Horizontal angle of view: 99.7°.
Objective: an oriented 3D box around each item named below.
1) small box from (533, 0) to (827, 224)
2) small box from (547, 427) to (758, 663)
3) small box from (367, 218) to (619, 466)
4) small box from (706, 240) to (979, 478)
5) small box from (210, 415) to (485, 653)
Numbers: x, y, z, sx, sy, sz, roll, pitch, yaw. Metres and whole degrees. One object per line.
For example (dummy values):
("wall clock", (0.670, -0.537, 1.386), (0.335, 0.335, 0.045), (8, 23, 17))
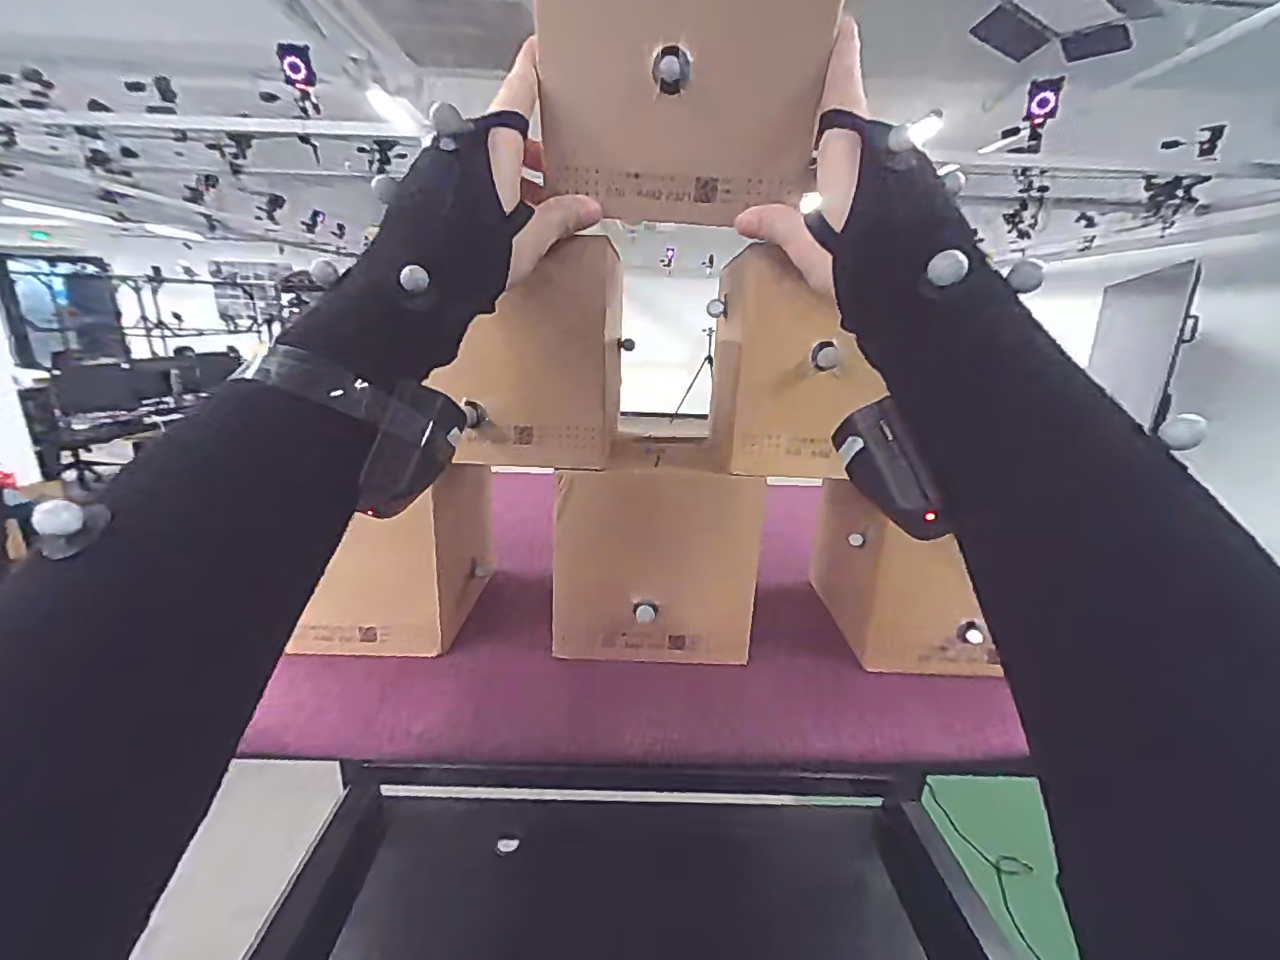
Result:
("small box", (0.027, -0.285, 0.375), (0.168, 0.176, 0.179), (5, 35, 2))
("small box", (0.007, 0.048, 0.511), (0.168, 0.176, 0.179), (2, 16, -1))
("small box", (-0.108, -0.115, 0.467), (0.168, 0.176, 0.179), (2, 16, 1))
("small box", (0.150, -0.102, 0.466), (0.168, 0.176, 0.179), (2, 15, 0))
("small box", (-0.246, 0.038, 0.503), (0.168, 0.176, 0.179), (2, 15, -2))
